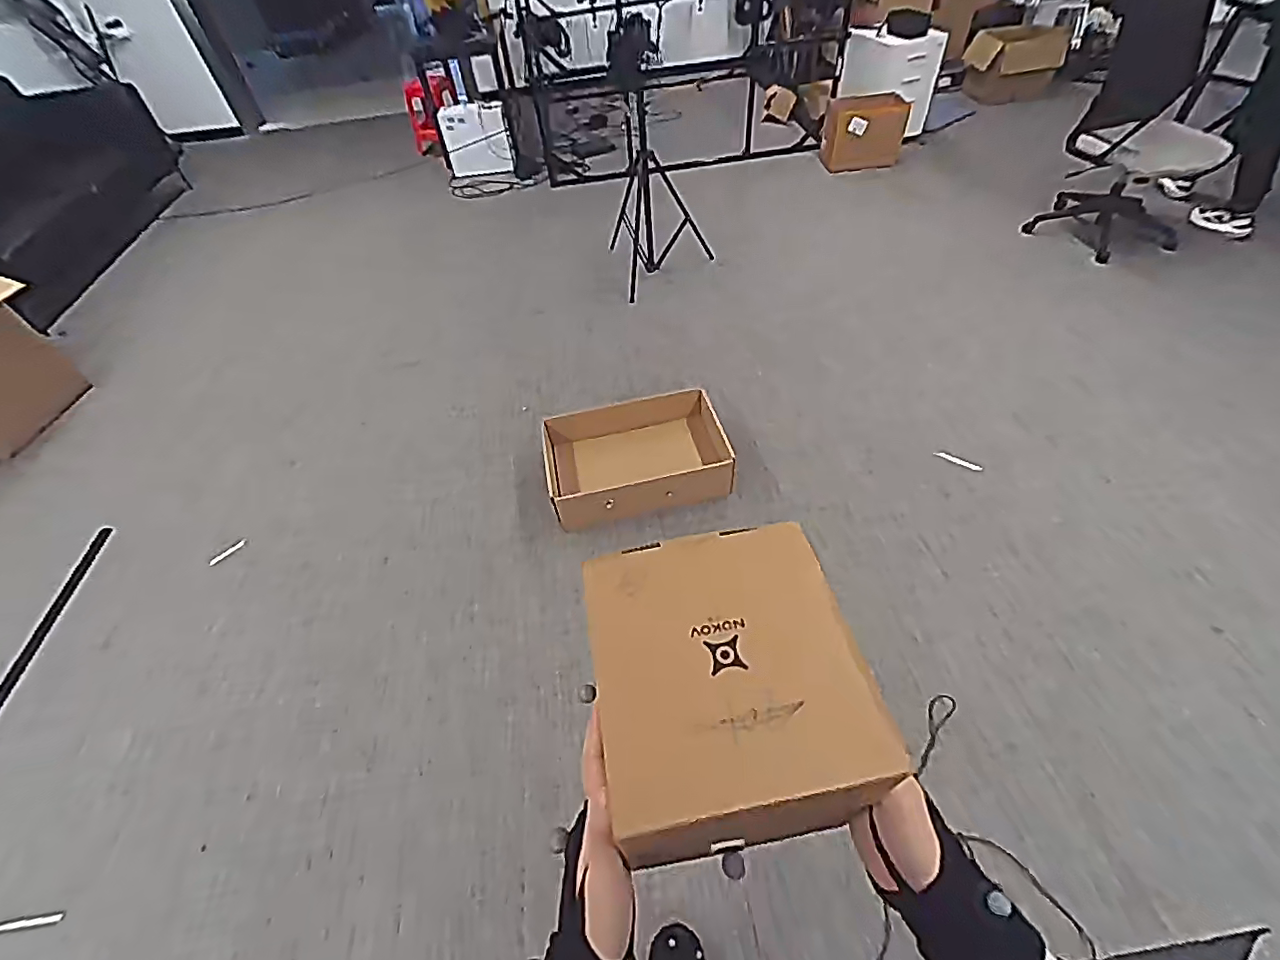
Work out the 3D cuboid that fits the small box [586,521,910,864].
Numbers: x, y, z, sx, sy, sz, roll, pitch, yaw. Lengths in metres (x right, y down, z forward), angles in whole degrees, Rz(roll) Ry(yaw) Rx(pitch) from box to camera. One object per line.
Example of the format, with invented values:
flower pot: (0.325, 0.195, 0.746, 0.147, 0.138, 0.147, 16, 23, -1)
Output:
small box: (0.058, 0.159, 0.404, 0.168, 0.176, 0.179, -10, 50, -5)
